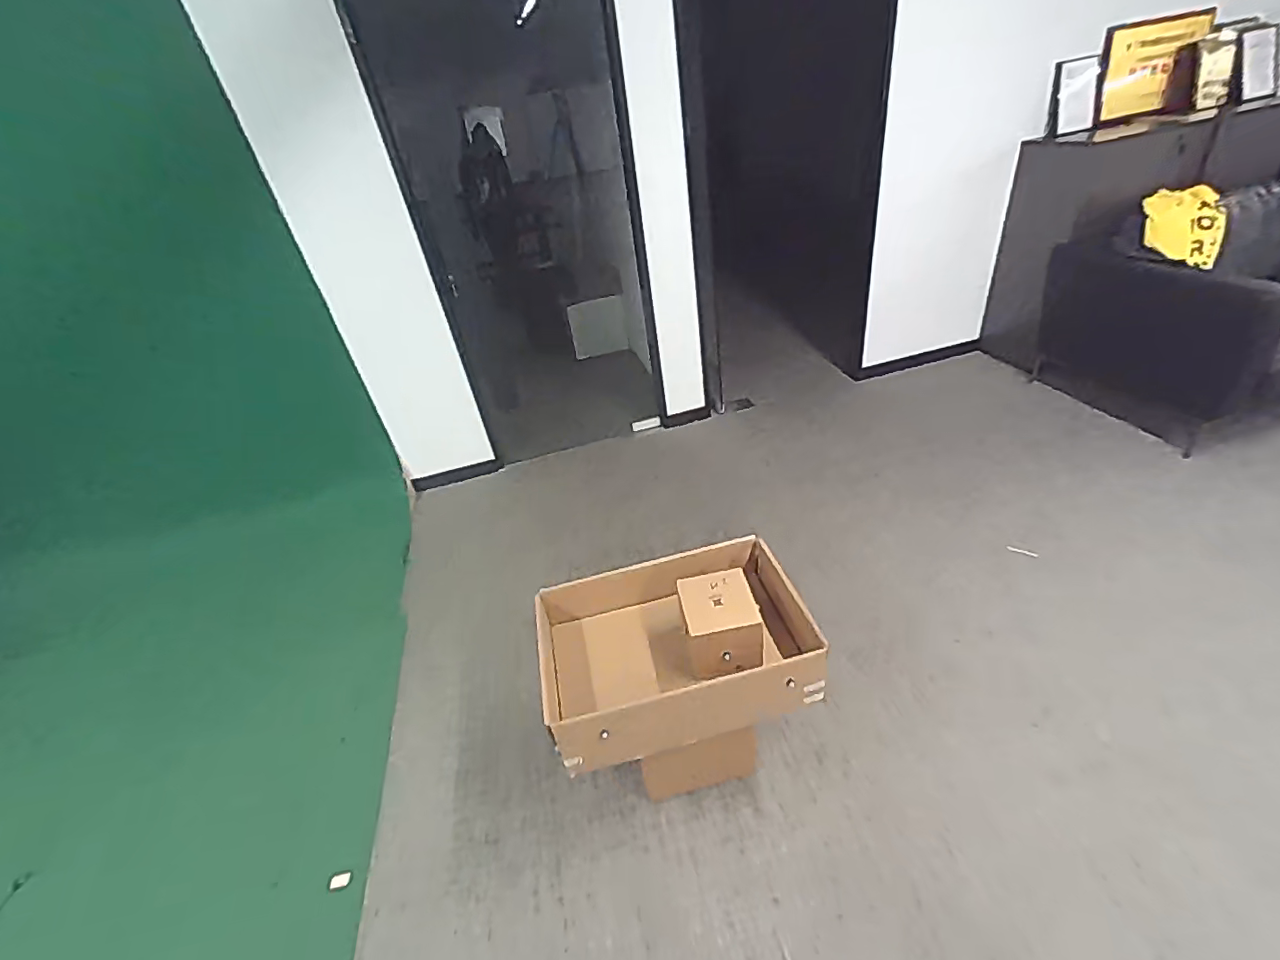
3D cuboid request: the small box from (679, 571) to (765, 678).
[{"bbox_3d":[0.195,0.349,1.285,0.168,0.176,0.179,-11,34,-1],"label":"small box"}]
